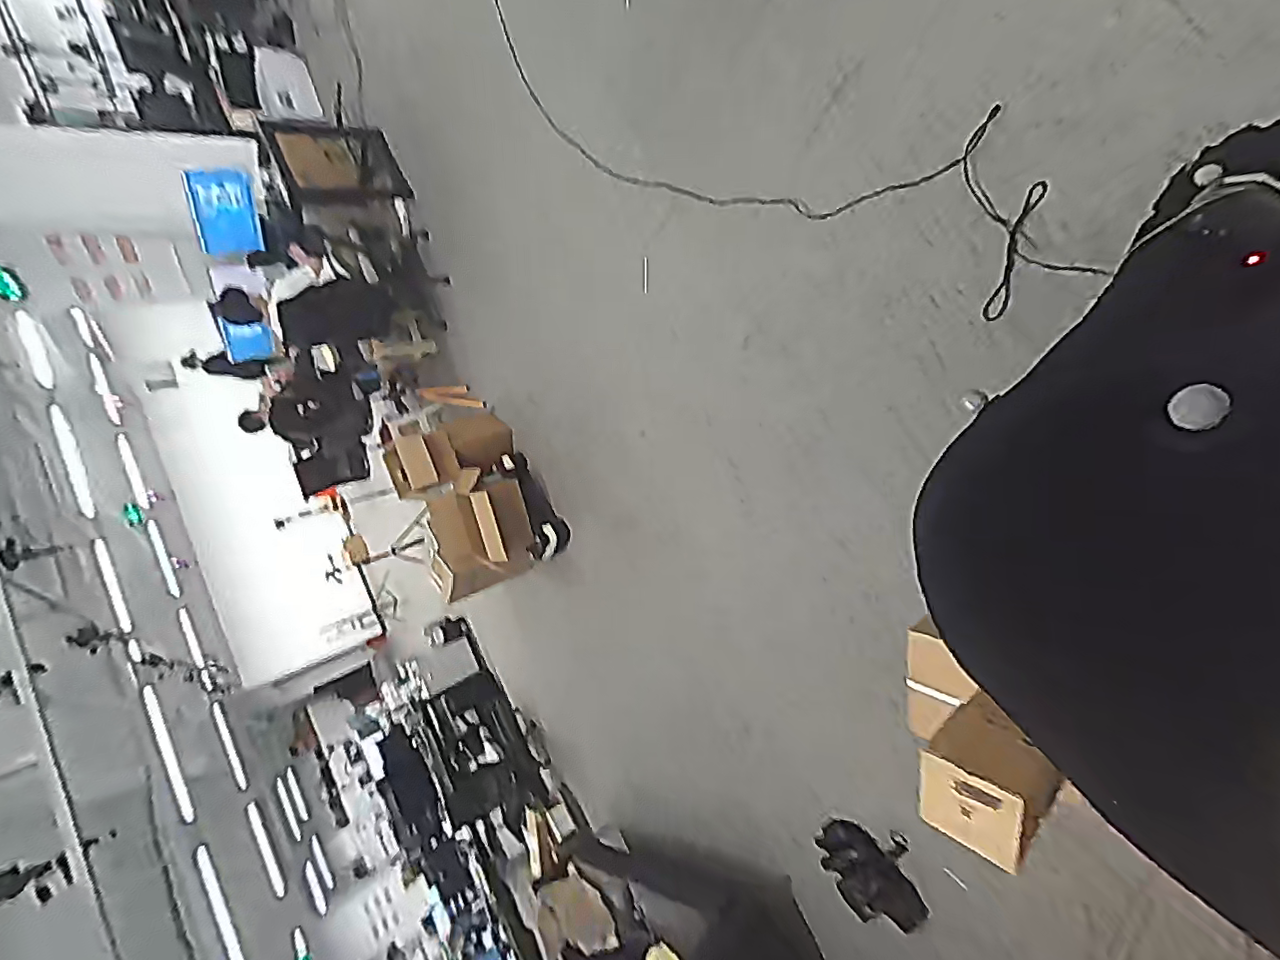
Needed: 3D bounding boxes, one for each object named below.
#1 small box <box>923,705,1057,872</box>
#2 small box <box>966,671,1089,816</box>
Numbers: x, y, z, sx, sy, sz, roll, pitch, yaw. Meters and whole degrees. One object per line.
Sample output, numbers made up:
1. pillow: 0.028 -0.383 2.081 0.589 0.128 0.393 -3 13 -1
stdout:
1. small box: 0.653 0.559 1.011 0.168 0.176 0.179 10 112 52
2. small box: 0.784 0.527 1.110 0.179 0.176 0.168 19 122 50
